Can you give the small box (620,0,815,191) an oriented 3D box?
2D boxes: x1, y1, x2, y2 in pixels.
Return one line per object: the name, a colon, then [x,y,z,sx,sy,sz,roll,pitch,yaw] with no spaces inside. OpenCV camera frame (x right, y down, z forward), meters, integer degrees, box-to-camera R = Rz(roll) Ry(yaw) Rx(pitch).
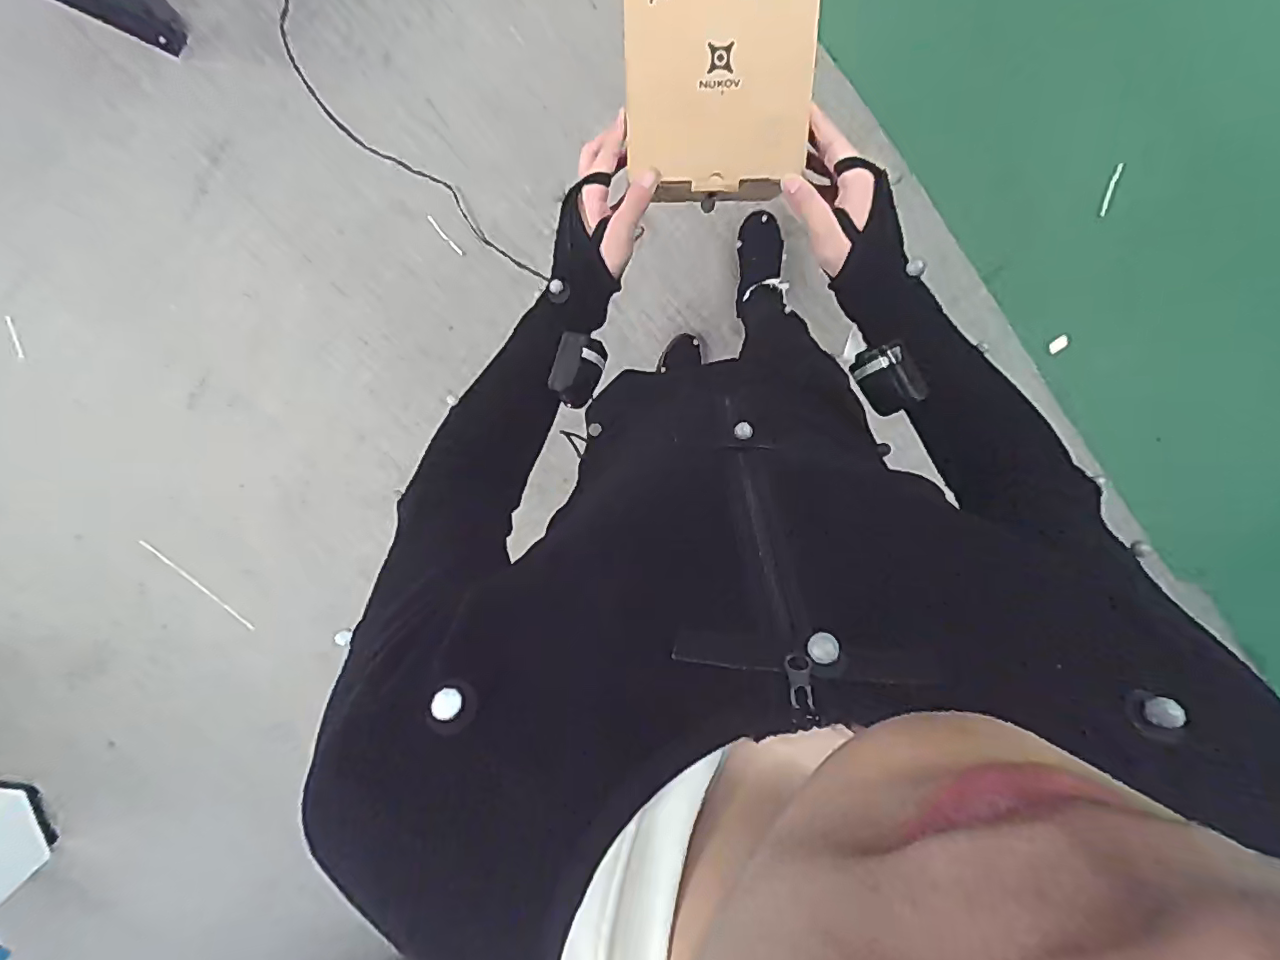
small box: [0.070,-0.393,0.542,0.168,0.176,0.179,0,113,3]
